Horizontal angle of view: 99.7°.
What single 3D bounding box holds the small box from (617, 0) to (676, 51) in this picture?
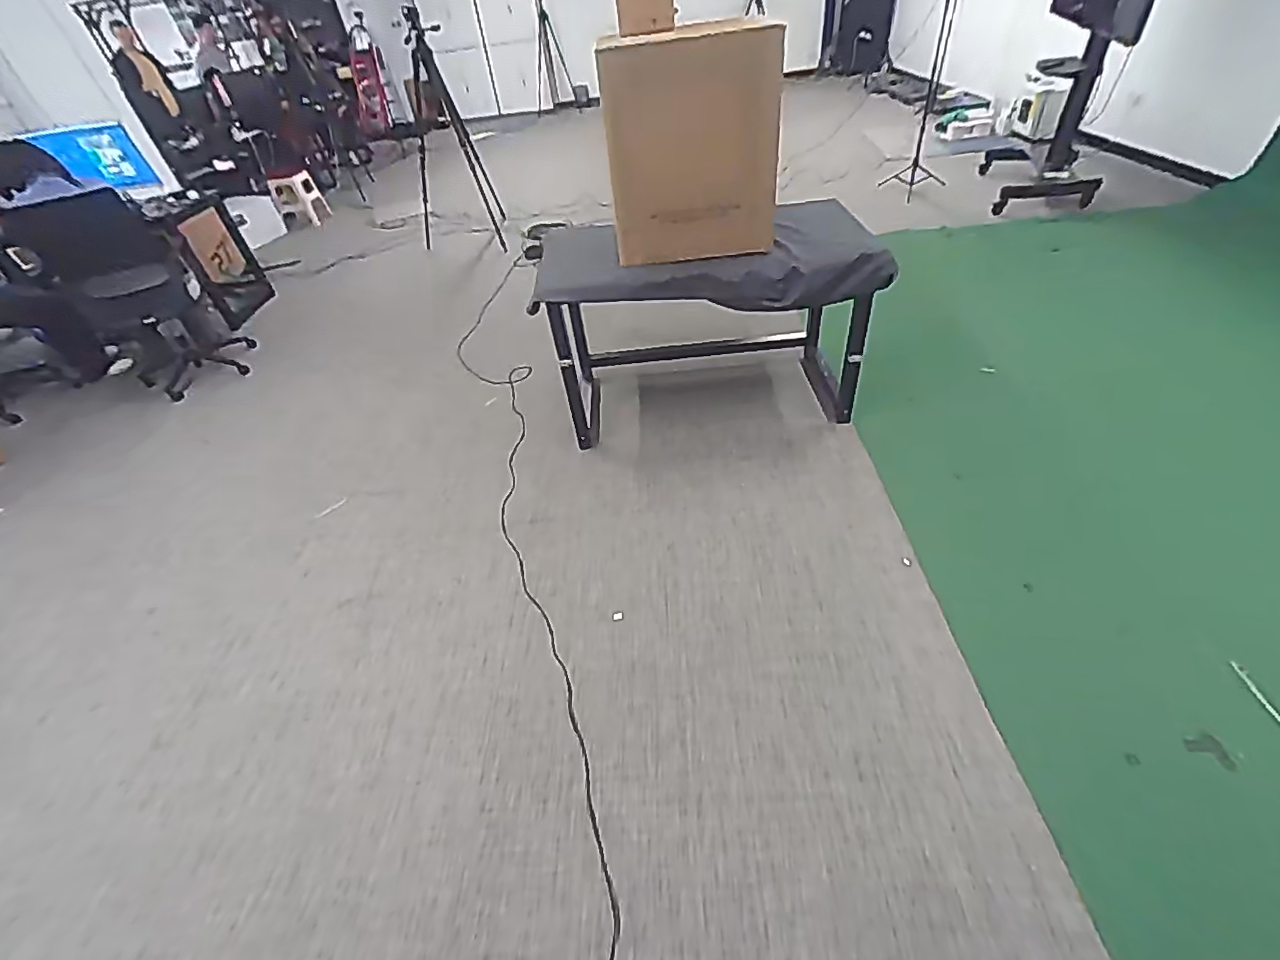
[{"bbox_3d":[0.018,-1.407,1.628,0.168,0.176,0.179,-5,40,4],"label":"small box"}]
